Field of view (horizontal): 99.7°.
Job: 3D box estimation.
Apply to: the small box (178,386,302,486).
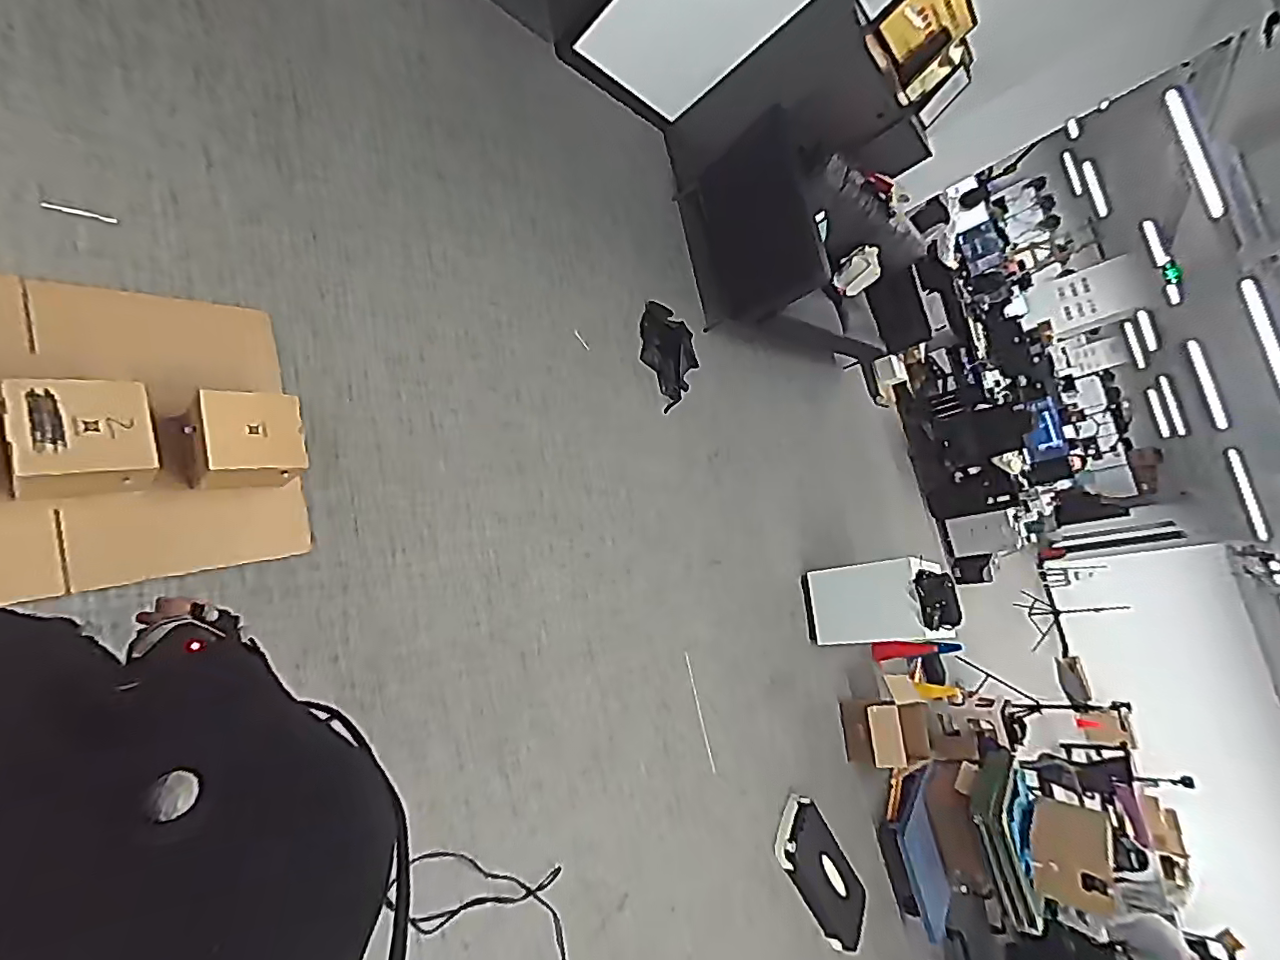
[{"bbox_3d":[-0.851,-0.088,1.146,0.179,0.176,0.168,-5,79,-51],"label":"small box"}]
